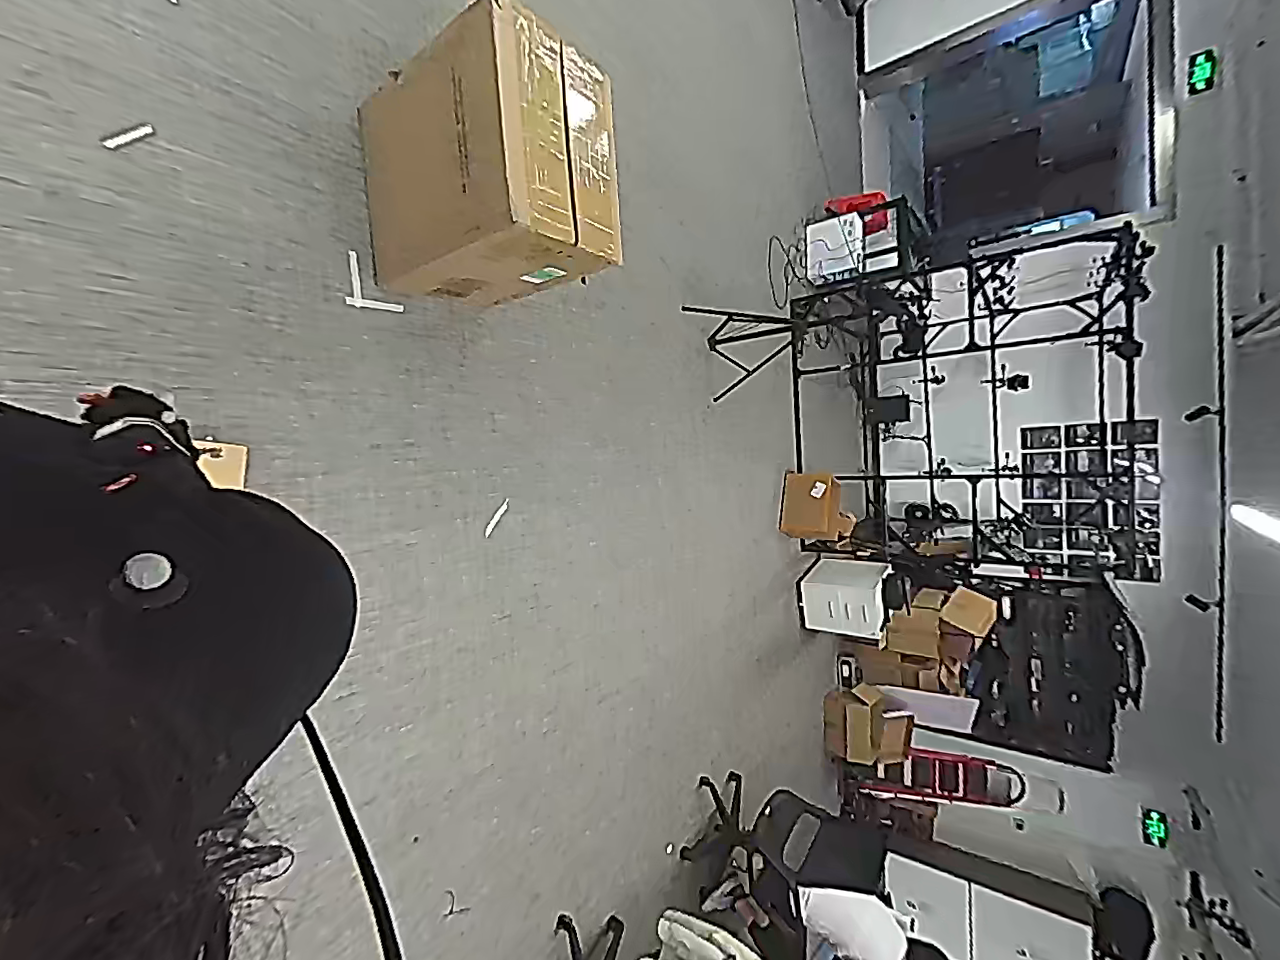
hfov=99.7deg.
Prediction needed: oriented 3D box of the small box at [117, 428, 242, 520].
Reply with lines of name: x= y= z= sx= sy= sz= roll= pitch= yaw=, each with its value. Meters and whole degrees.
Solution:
small box: x=-0.994 y=-0.008 z=1.167 sx=0.168 sy=0.176 sz=0.179 roll=9 pitch=82 yaw=-53
